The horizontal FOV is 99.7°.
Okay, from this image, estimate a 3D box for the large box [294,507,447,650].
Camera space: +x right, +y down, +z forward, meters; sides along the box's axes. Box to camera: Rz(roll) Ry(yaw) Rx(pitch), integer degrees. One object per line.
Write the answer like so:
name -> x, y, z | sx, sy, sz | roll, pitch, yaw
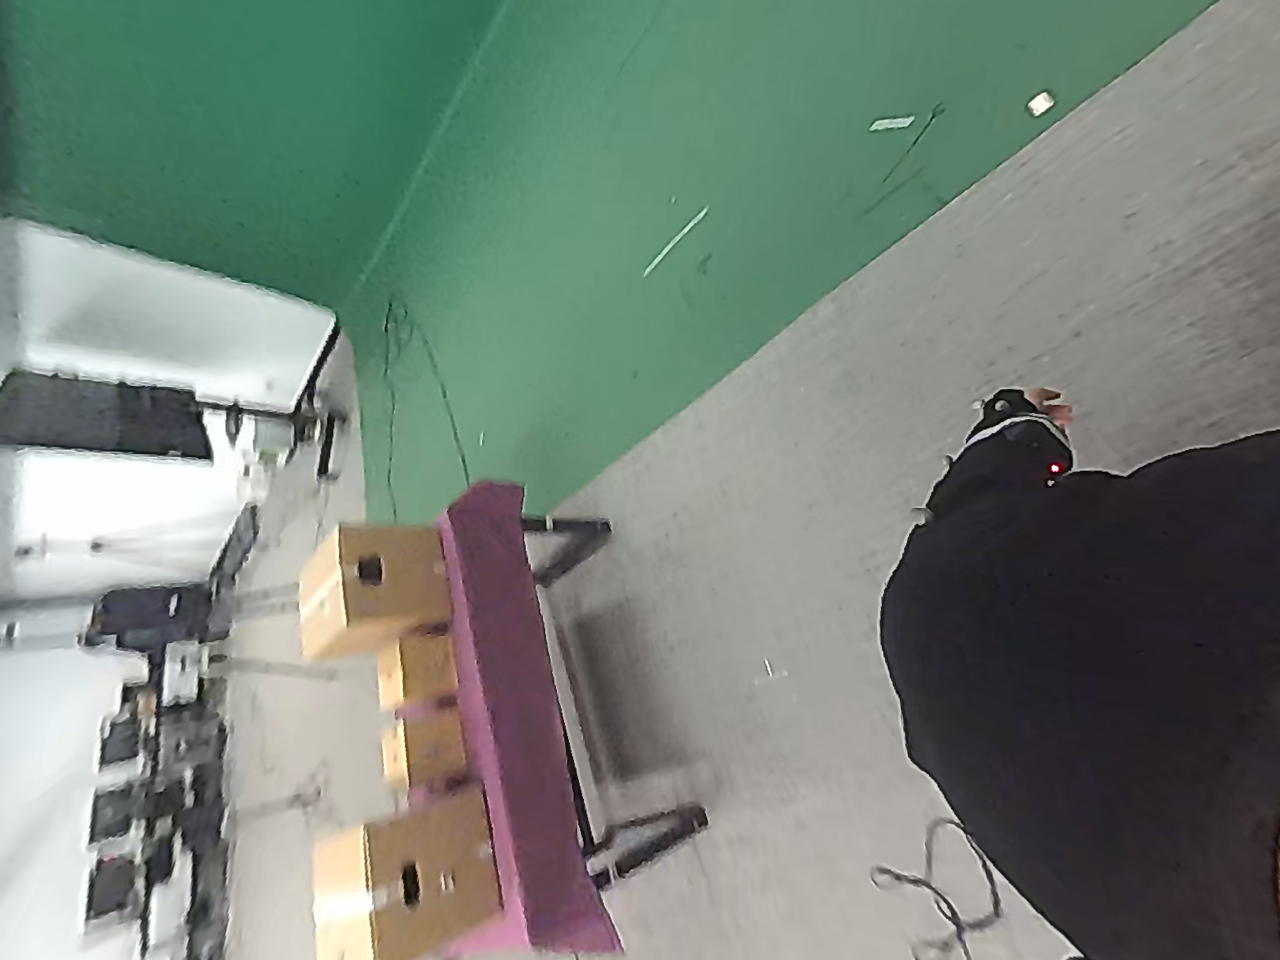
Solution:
large box -> -0.876, 0.321, 1.739 | 0.408, 0.320, 0.320 | -34, 63, 35
